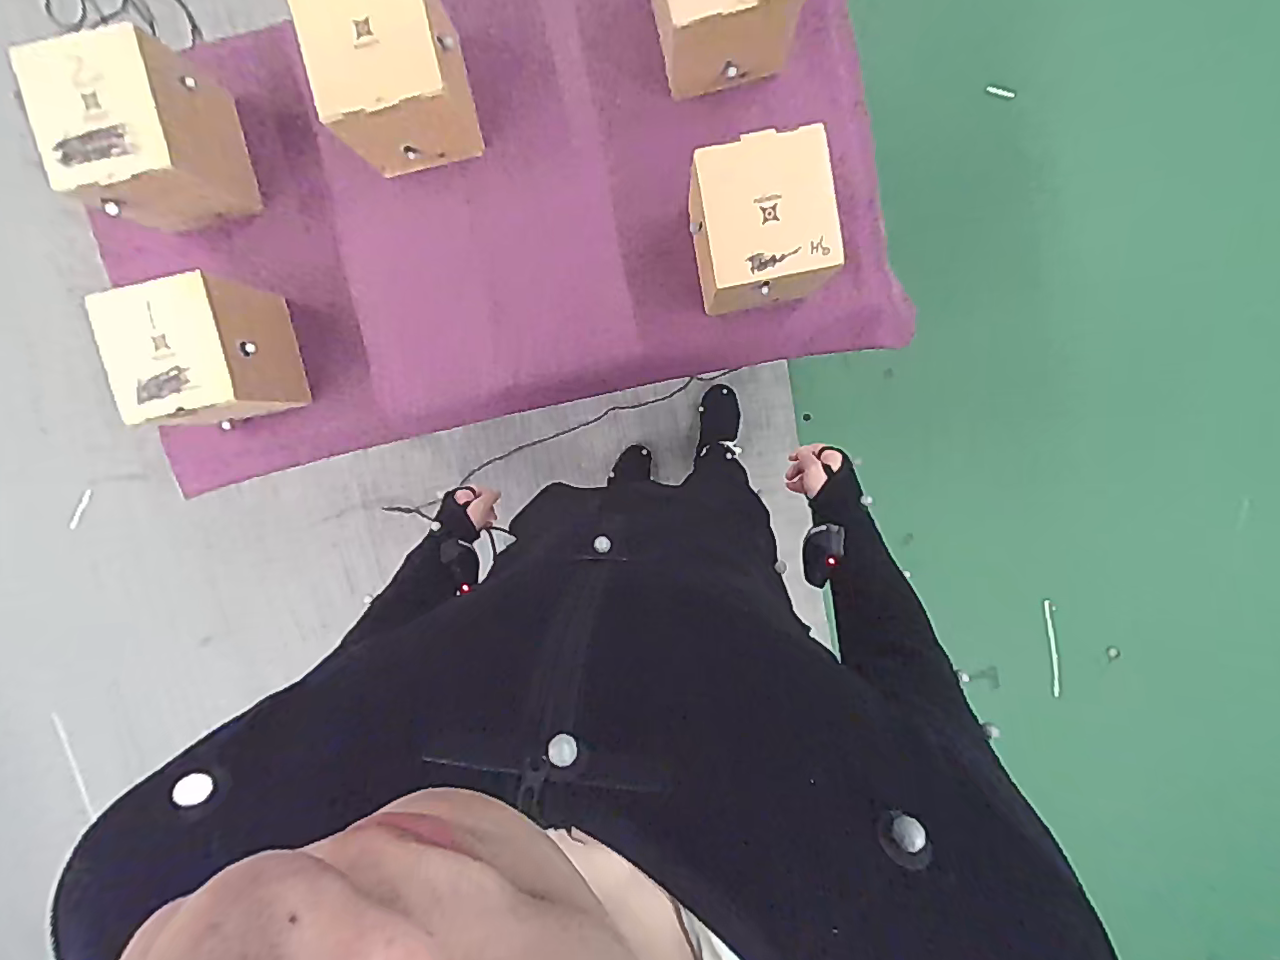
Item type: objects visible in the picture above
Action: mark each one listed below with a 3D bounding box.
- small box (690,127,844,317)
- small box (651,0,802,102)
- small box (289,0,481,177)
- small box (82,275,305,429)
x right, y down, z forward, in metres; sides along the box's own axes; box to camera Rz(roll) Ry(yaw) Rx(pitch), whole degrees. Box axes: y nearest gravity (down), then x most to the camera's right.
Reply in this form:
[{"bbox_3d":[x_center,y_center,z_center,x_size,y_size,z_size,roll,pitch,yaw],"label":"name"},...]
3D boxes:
[{"bbox_3d":[0.166,-0.347,0.758,0.168,0.176,0.179,-10,94,3],"label":"small box"},{"bbox_3d":[0.104,-0.658,0.721,0.168,0.176,0.179,-13,97,5],"label":"small box"},{"bbox_3d":[-0.338,-0.557,0.746,0.168,0.176,0.179,-12,98,2],"label":"small box"},{"bbox_3d":[-0.633,-0.177,0.793,0.168,0.176,0.179,-12,96,2],"label":"small box"}]
